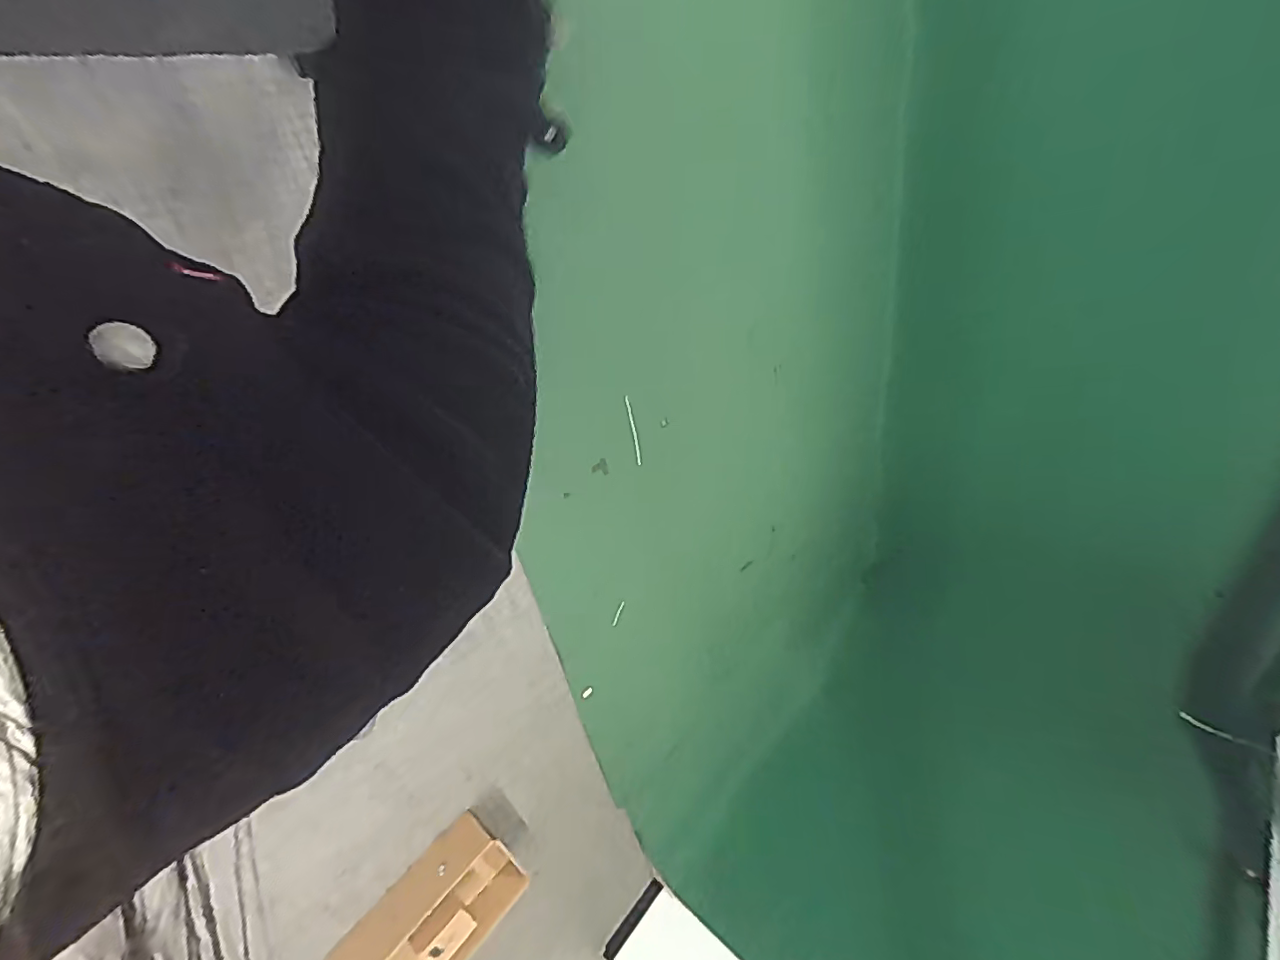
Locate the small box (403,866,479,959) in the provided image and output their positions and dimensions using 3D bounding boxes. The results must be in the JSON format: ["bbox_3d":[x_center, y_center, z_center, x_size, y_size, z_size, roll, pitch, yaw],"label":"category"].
[{"bbox_3d":[-0.711,1.530,1.914,0.179,0.176,0.168,-39,132,-33],"label":"small box"}]
